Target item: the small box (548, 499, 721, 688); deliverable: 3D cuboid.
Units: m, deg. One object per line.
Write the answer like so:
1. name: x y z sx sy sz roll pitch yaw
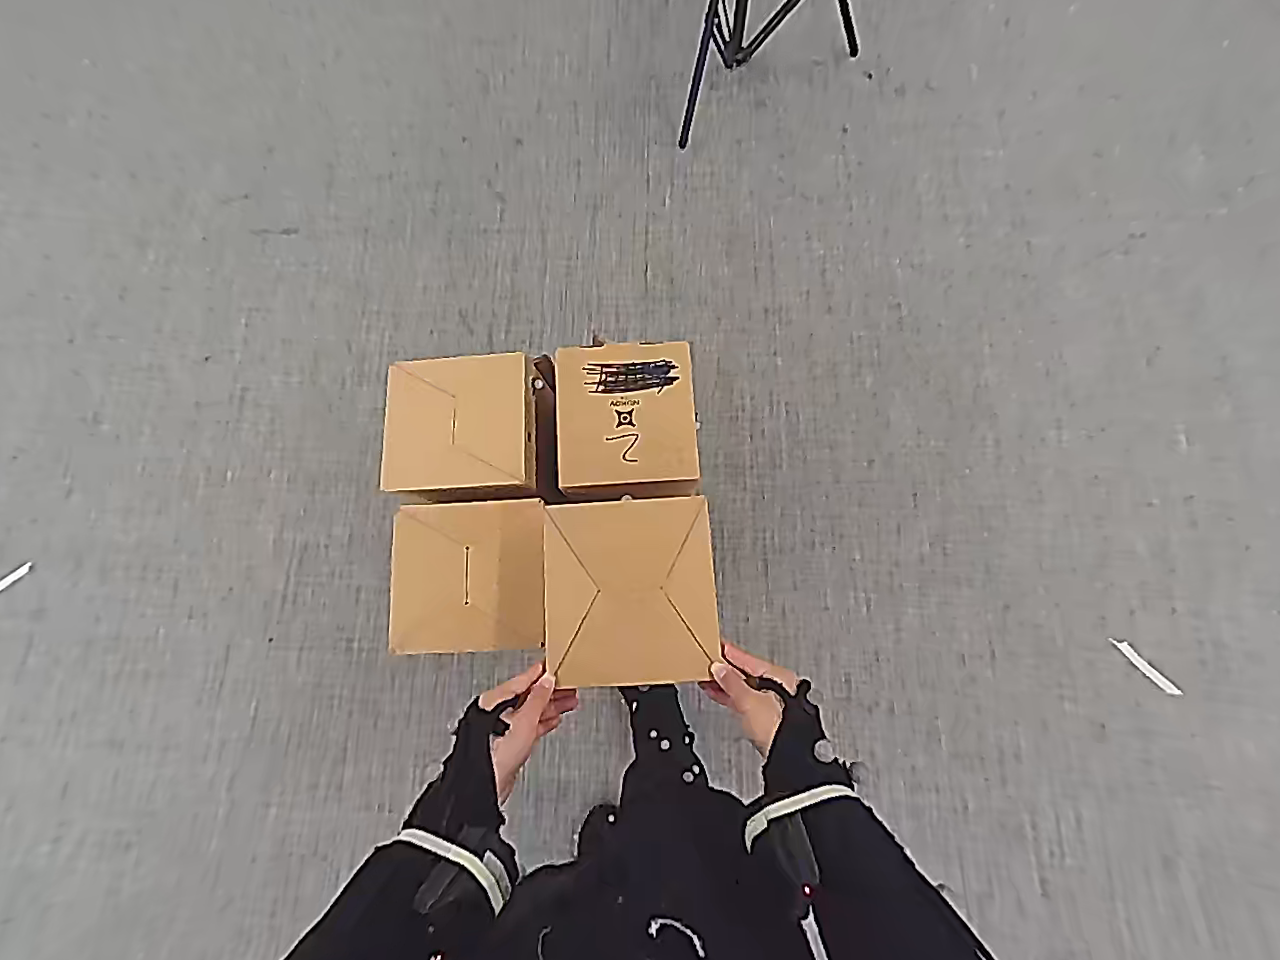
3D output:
1. small box: -0.006 0.129 0.603 0.168 0.176 0.179 -4 76 0
